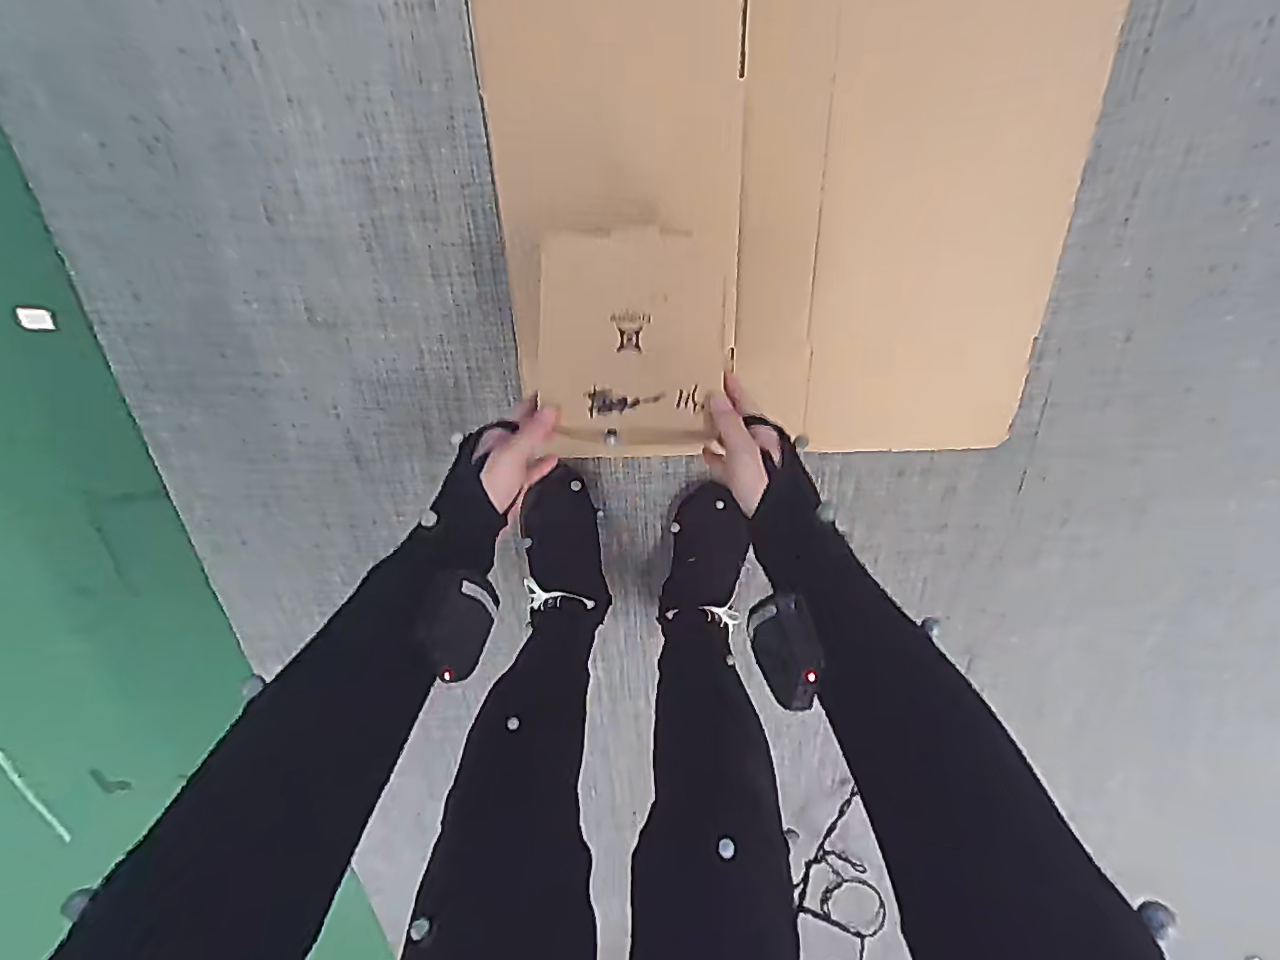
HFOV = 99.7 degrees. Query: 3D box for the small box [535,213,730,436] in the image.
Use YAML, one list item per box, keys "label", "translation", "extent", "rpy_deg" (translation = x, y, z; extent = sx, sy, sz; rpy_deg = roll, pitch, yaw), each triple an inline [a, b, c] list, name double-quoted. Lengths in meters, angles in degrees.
- label: "small box"
  translation: [-0.001, -0.142, 0.545]
  extent: [0.168, 0.176, 0.179]
  rpy_deg: [2, 90, 5]
